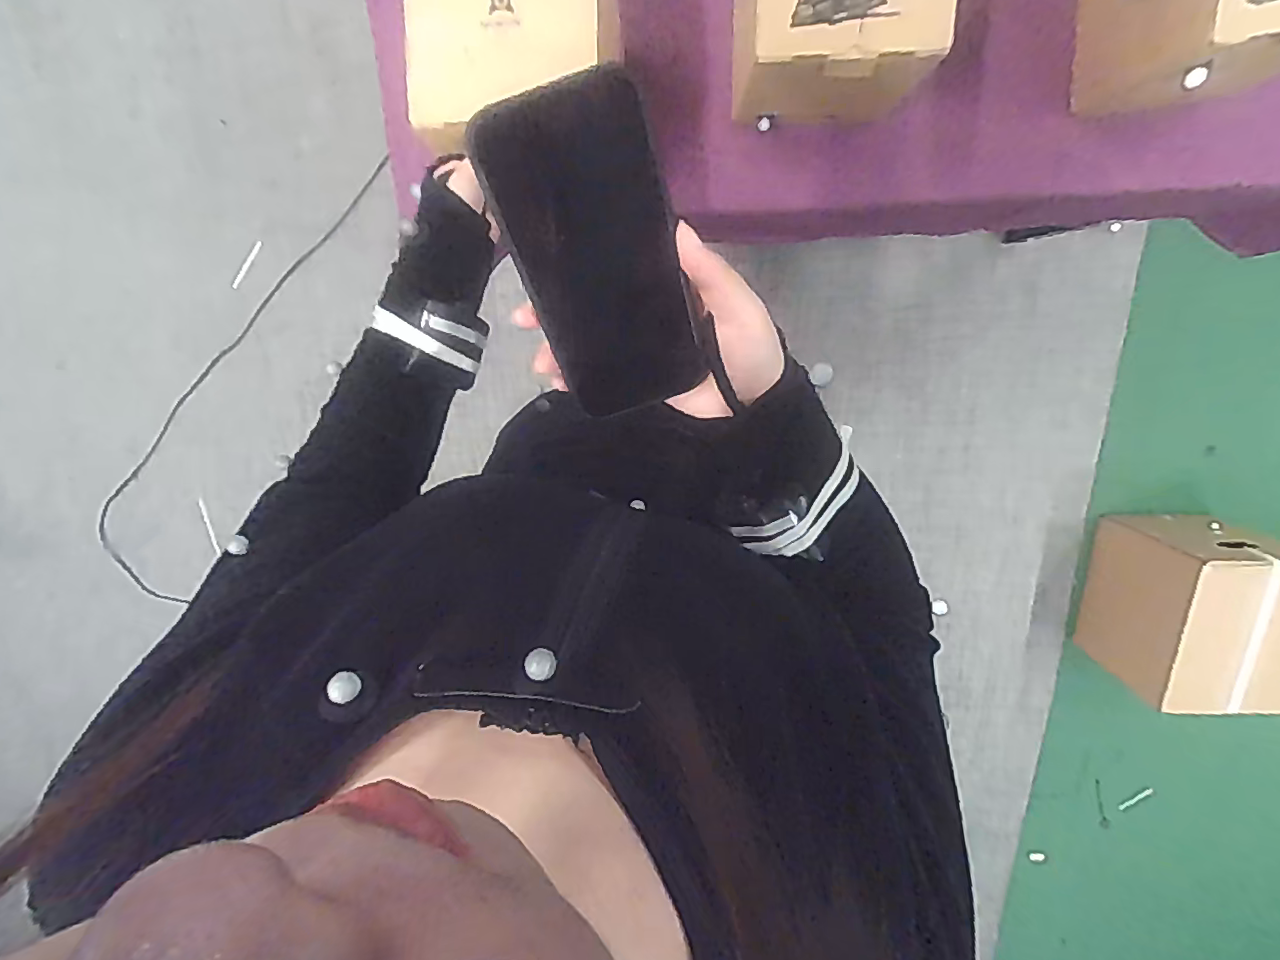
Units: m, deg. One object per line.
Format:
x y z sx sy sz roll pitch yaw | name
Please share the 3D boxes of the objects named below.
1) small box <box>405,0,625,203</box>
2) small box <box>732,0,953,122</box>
-0.106 -0.388 0.525 0.168 0.176 0.179 0 93 6 | small box
0.181 -0.463 0.515 0.168 0.176 0.179 -1 106 2 | small box
